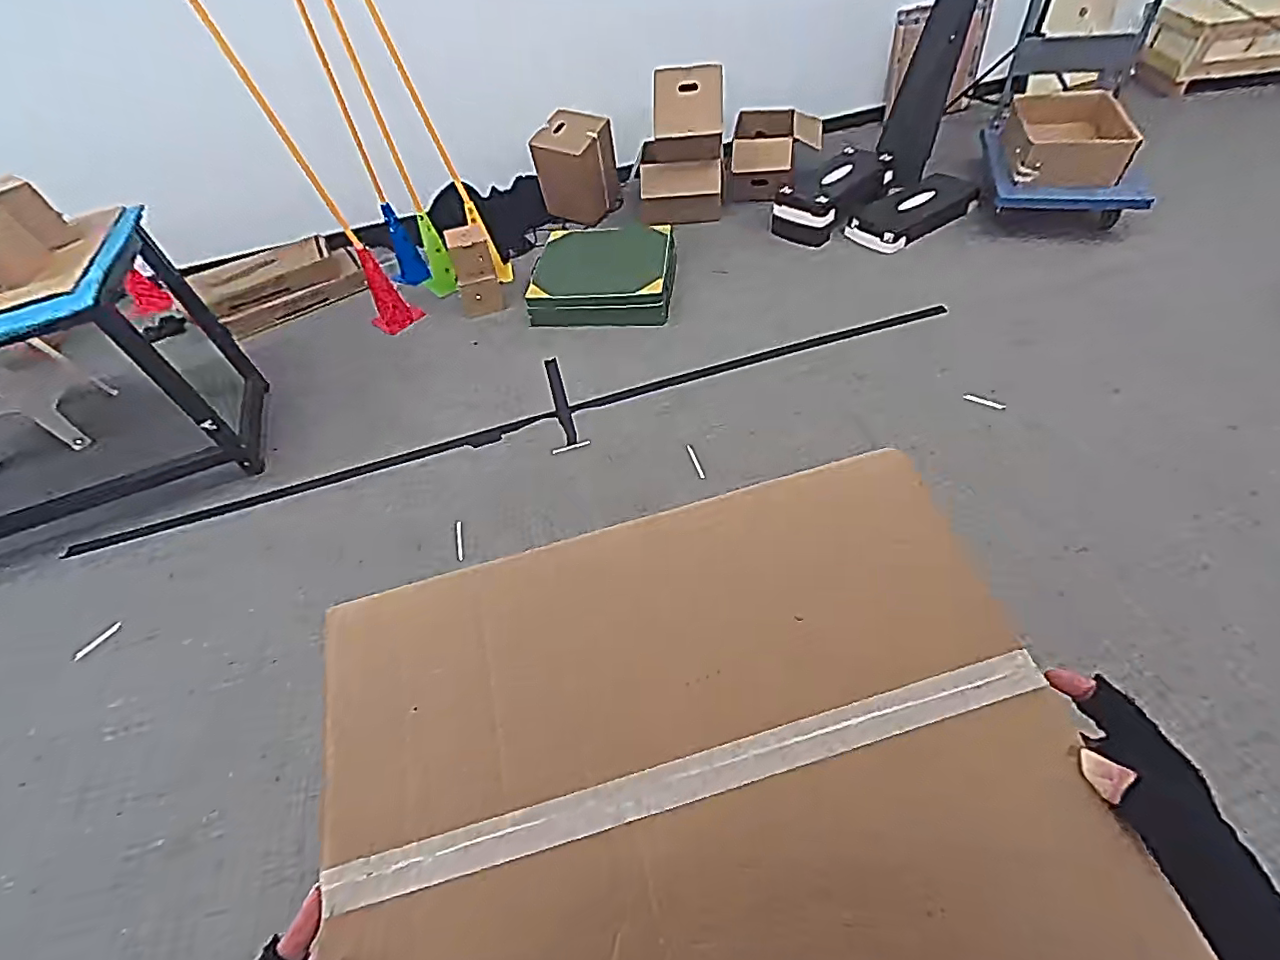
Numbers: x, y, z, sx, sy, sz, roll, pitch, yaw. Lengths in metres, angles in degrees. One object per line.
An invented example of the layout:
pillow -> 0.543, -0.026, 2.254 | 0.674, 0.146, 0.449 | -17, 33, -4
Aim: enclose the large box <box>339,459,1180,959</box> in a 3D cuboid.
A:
large box -> 0.041, 0.235, 0.439 | 0.408, 0.320, 0.320 | -16, 61, -3
